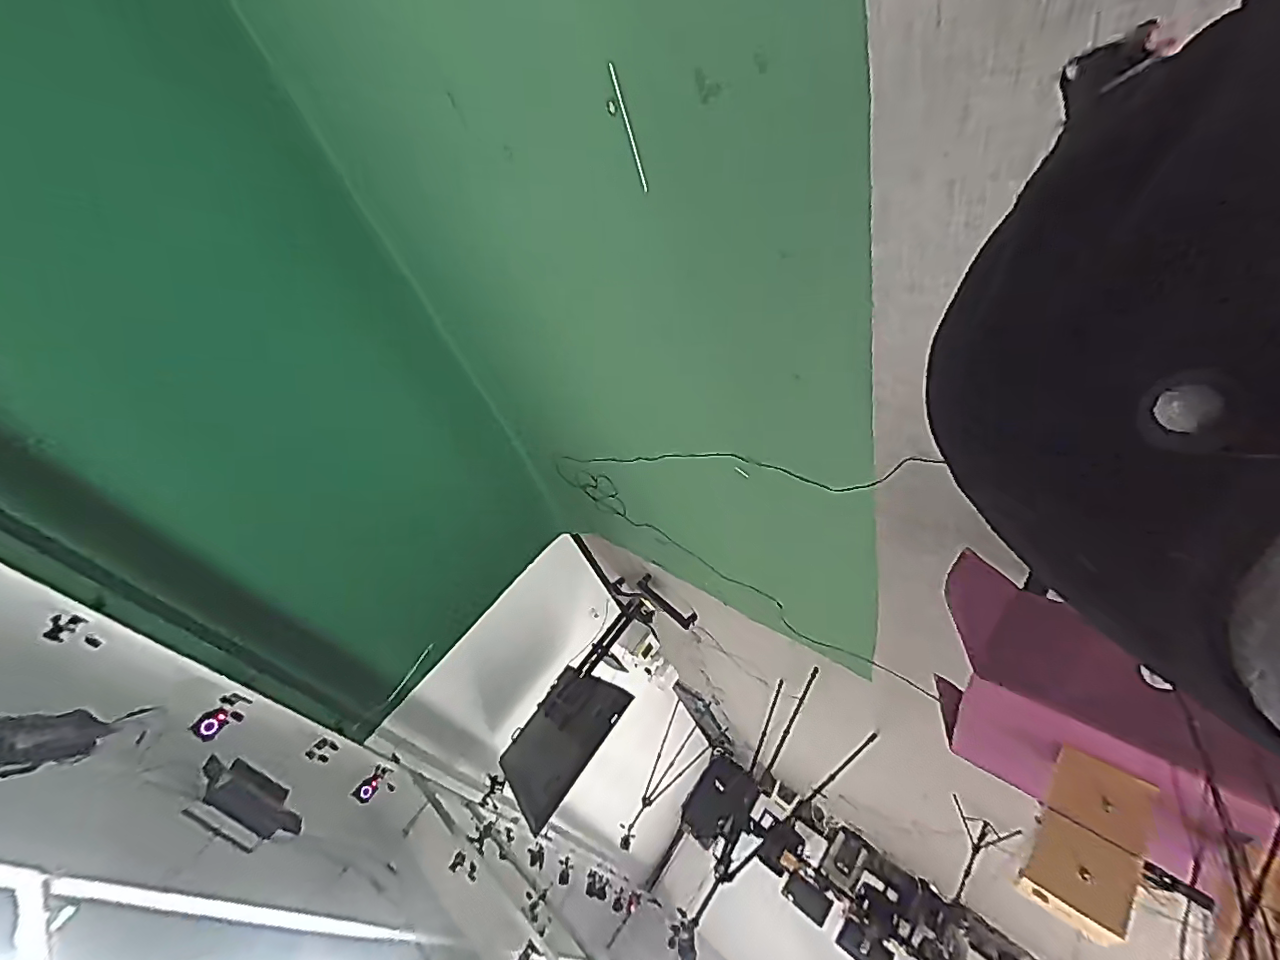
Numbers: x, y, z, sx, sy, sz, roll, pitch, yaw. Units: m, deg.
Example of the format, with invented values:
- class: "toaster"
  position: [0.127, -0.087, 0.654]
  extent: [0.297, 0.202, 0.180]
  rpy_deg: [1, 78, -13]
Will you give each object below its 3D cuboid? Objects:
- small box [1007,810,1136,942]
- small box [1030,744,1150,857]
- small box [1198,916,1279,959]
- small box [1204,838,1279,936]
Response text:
- class: "small box"
  position: [0.964, 0.878, 1.216]
  extent: [0.179, 0.176, 0.168]
  rpy_deg: [21, 149, 38]
- class: "small box"
  position: [1.066, 0.768, 1.284]
  extent: [0.179, 0.176, 0.168]
  rpy_deg: [20, 148, 39]
- class: "small box"
  position: [1.204, 0.980, 1.032]
  extent: [0.168, 0.176, 0.179]
  rpy_deg: [24, 152, 39]
- class: "small box"
  position: [1.310, 0.872, 1.092]
  extent: [0.179, 0.176, 0.168]
  rpy_deg: [24, 151, 37]
